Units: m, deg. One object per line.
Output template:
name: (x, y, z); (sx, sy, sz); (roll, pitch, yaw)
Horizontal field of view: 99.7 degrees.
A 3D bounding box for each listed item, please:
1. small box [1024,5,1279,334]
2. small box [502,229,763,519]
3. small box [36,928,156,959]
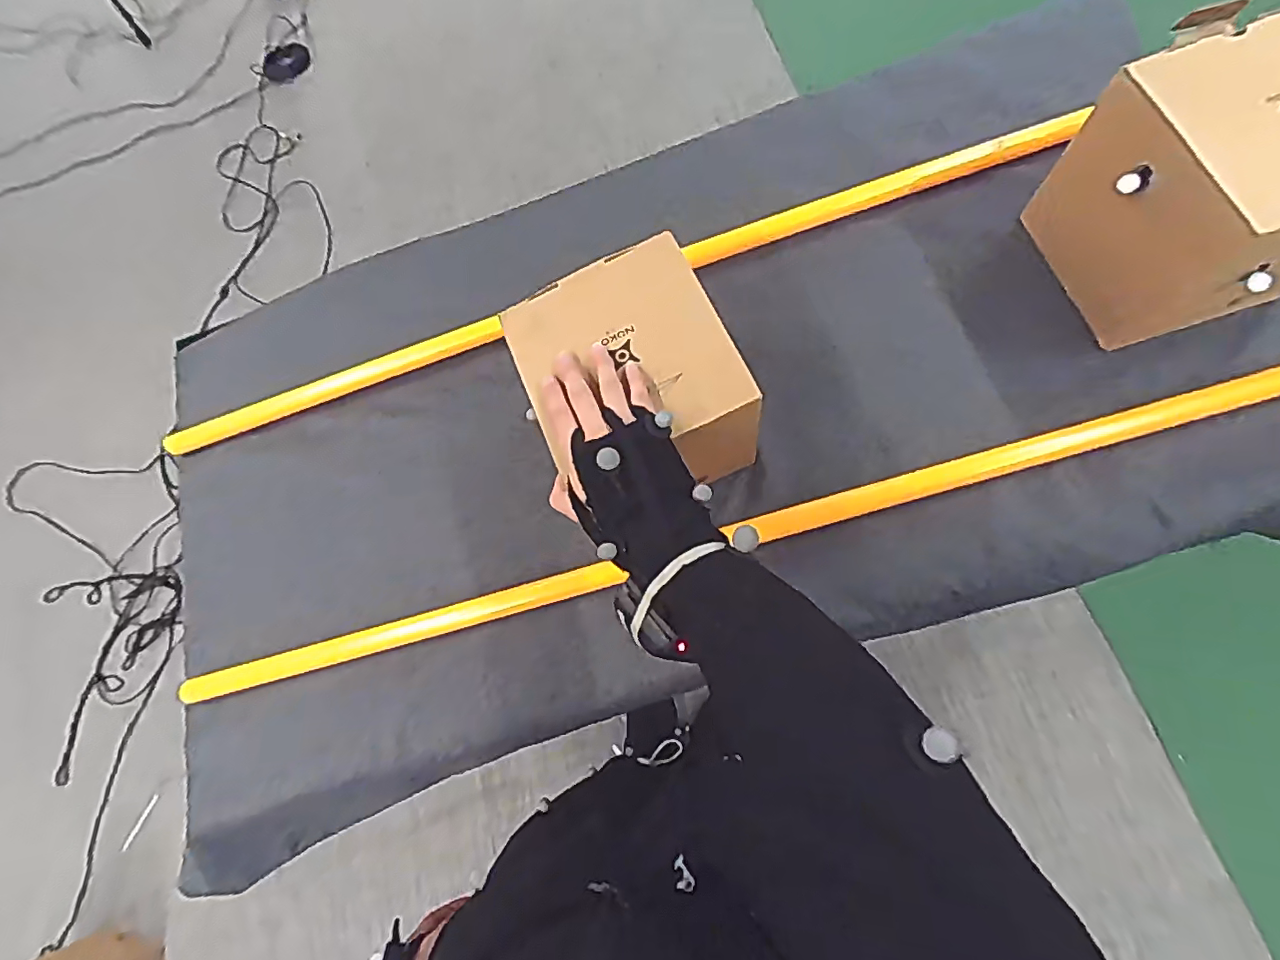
small box: (0.488, -0.250, 0.468); (0.168, 0.176, 0.179); (-18, 71, 6)
small box: (-0.001, -0.084, 0.509); (0.168, 0.176, 0.179); (-26, 72, 3)
small box: (-1.188, 1.107, 1.139); (0.168, 0.176, 0.179); (7, 75, 12)
